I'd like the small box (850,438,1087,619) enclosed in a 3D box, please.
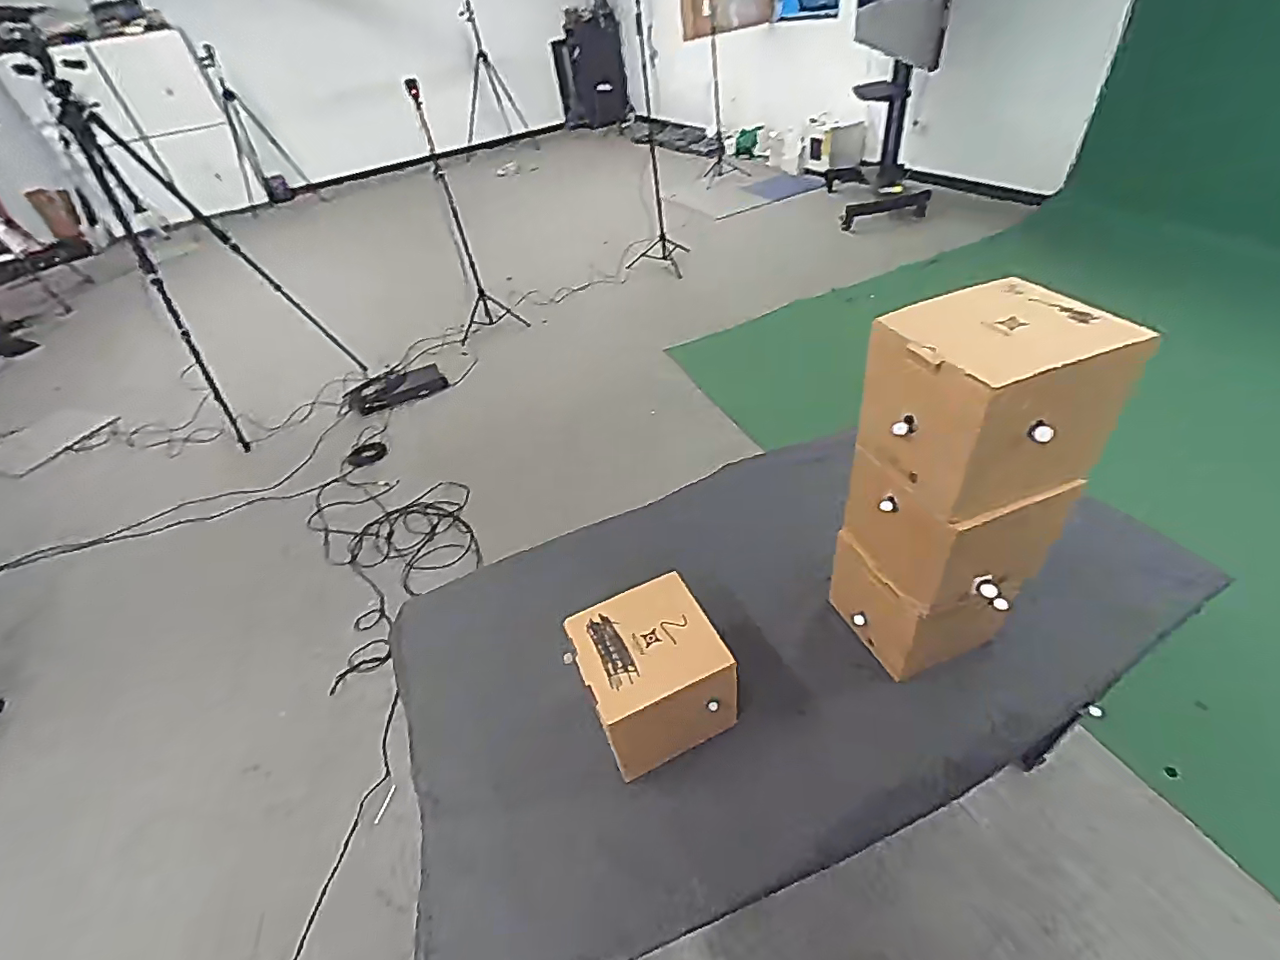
[{"bbox_3d":[0.385,0.039,0.677,0.168,0.176,0.179,-19,43,-7],"label":"small box"}]

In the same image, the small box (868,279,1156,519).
[{"bbox_3d":[0.362,-0.084,0.572,0.179,0.176,0.168,-18,41,-6],"label":"small box"}]

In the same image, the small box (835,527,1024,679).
[{"bbox_3d":[0.407,0.155,0.789,0.179,0.176,0.168,-20,41,-10],"label":"small box"}]
